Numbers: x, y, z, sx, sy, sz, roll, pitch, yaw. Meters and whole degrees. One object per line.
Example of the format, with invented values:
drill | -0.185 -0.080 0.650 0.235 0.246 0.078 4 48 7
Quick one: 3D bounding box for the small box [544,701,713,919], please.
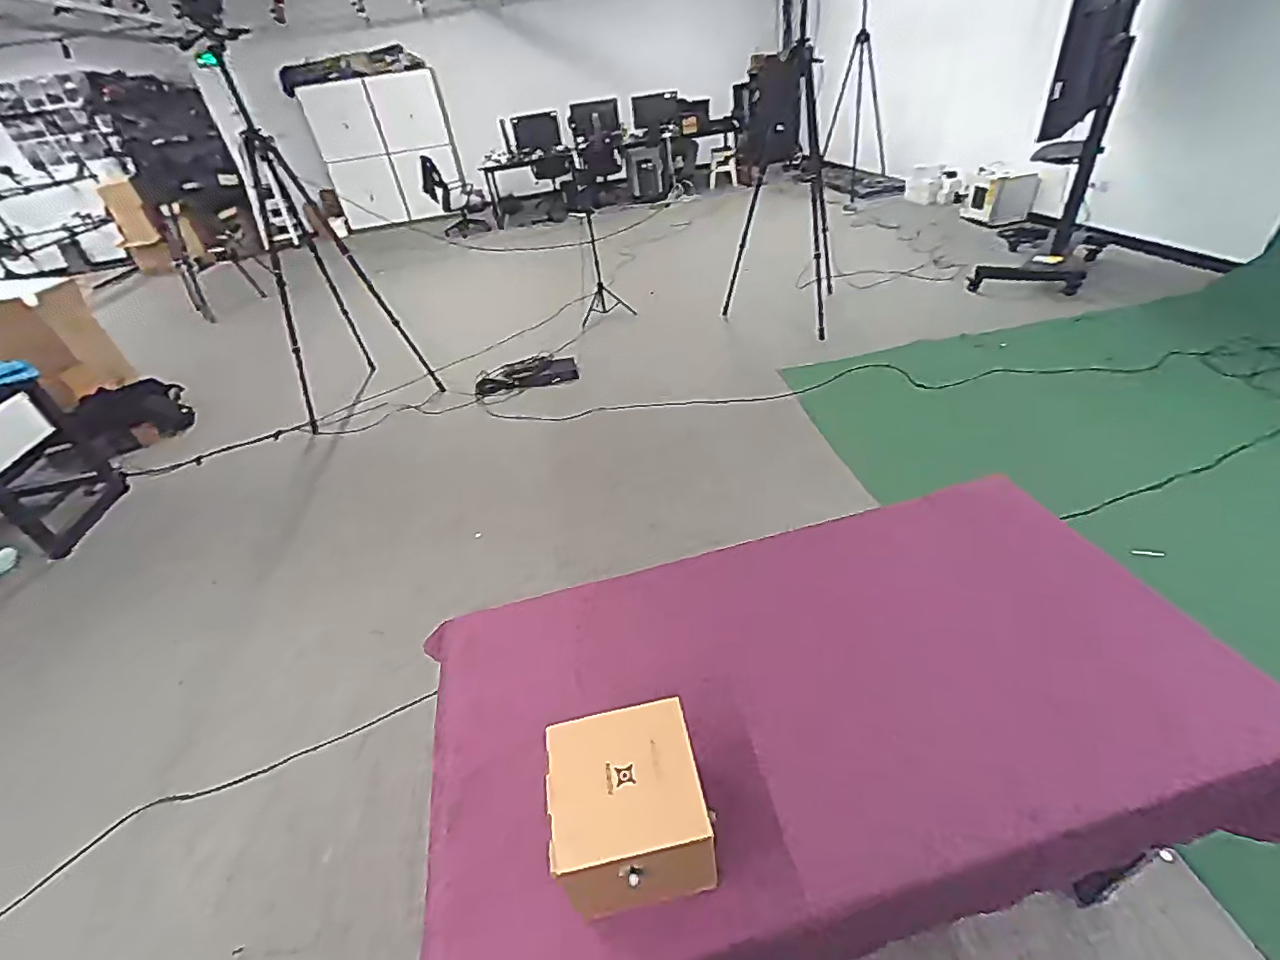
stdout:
small box | -0.014 0.413 0.678 0.179 0.176 0.168 -11 38 -4
